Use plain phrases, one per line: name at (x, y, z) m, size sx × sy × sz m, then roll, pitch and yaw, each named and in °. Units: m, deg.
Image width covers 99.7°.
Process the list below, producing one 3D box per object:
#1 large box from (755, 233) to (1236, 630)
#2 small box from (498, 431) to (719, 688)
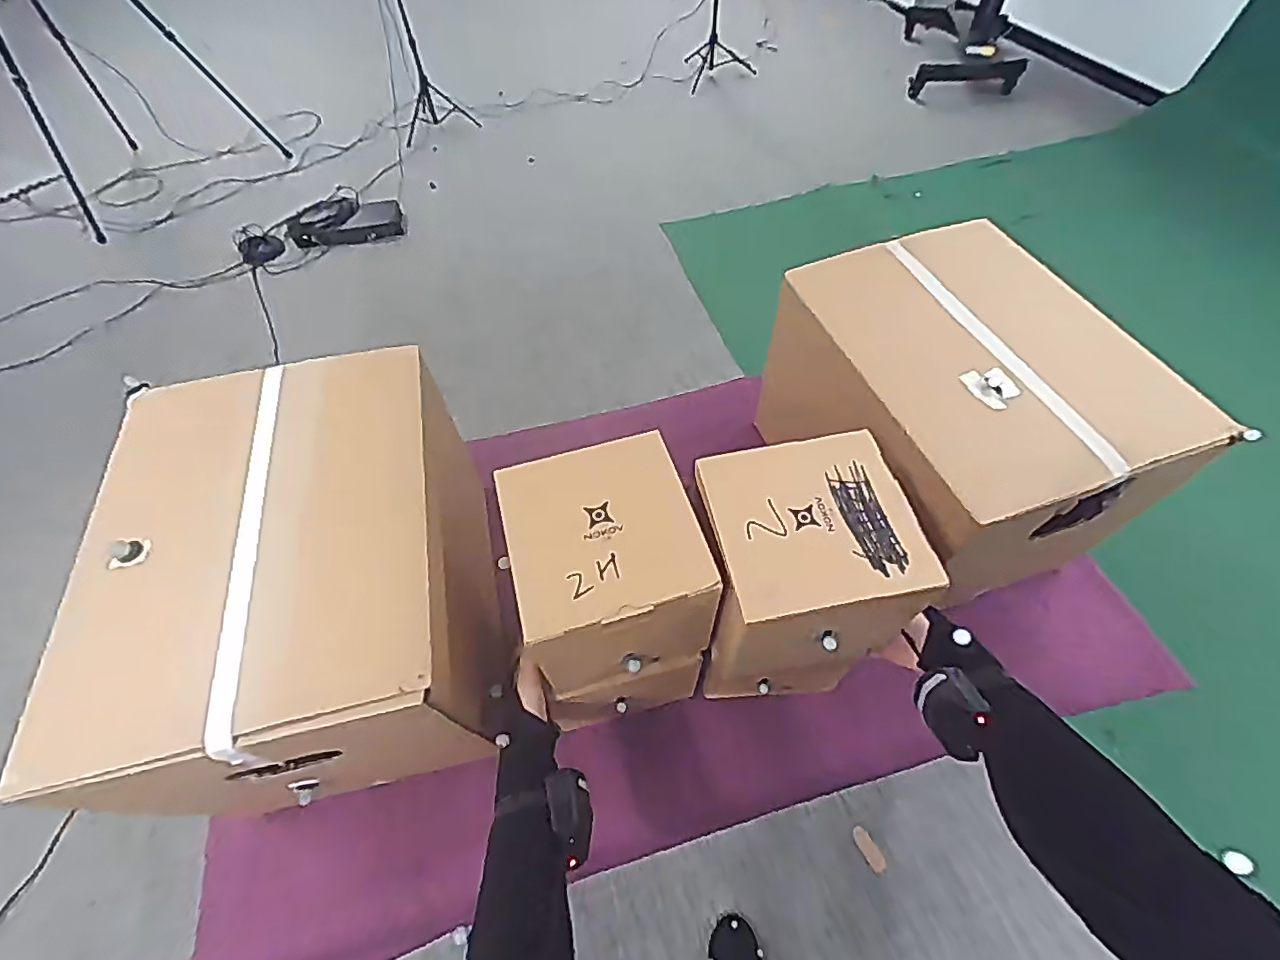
large box at (0.400, -0.067, 0.750) m, size 0.320 × 0.320 × 0.408 m, roll -17°, pitch 58°, yaw -7°
small box at (-0.034, 0.082, 0.542) m, size 0.168 × 0.176 × 0.179 m, roll -15°, pitch 56°, yaw -7°
